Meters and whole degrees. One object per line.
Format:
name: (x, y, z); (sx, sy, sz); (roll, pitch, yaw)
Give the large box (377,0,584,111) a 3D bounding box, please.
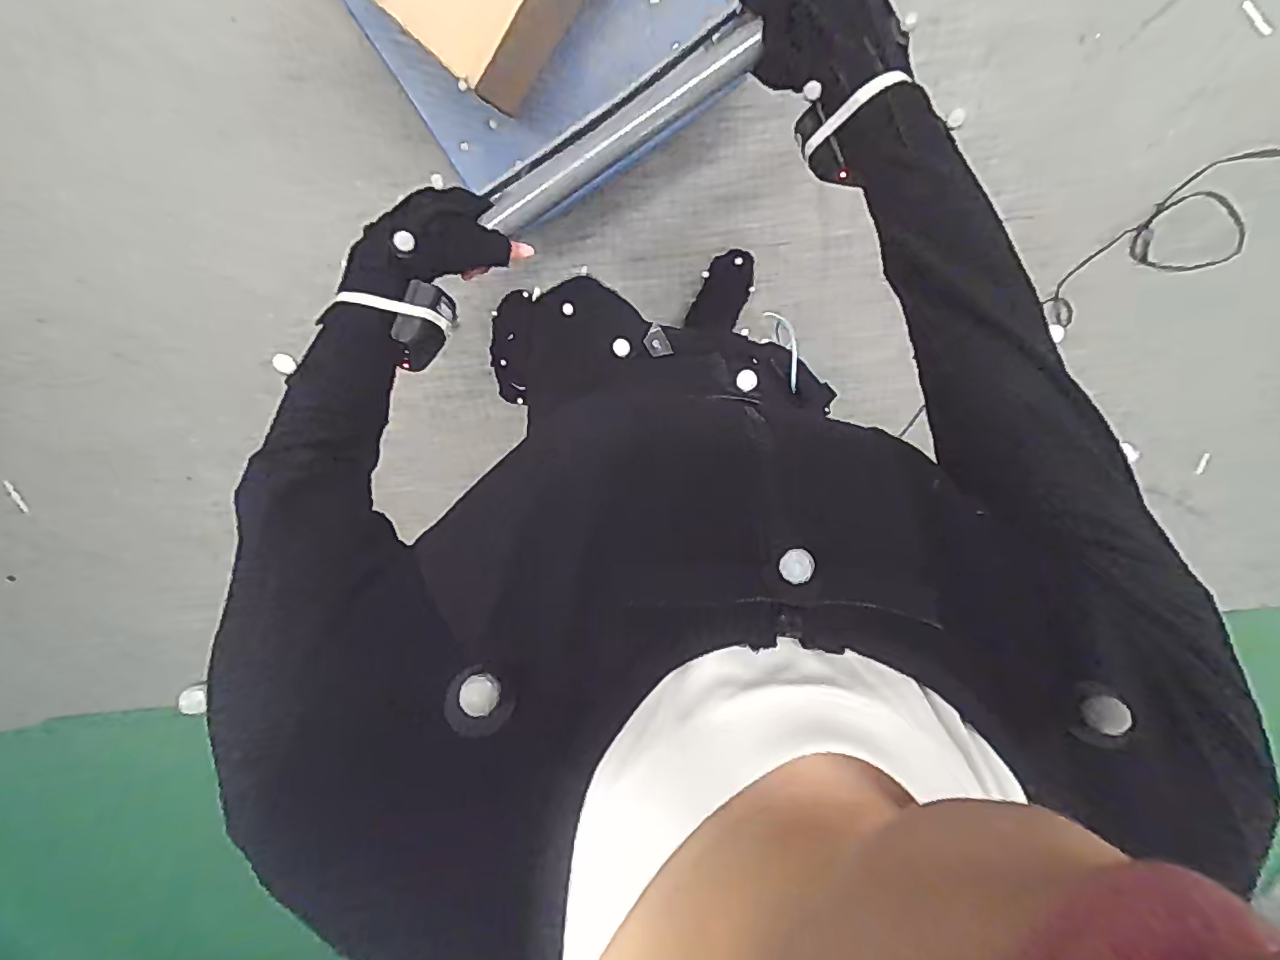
large box: (-0.218, -0.836, 0.767); (0.320, 0.320, 0.408); (35, 113, -18)
